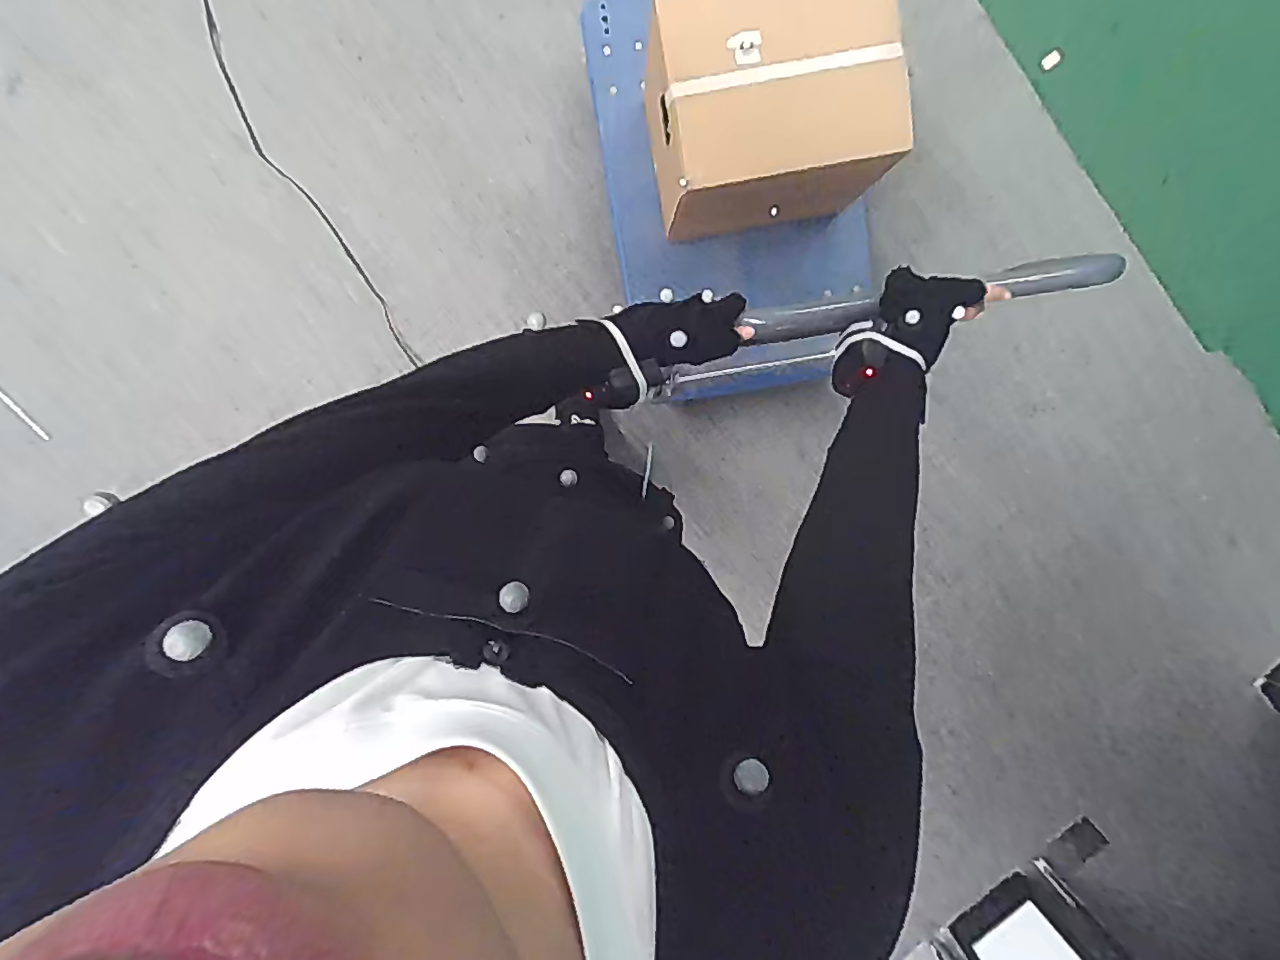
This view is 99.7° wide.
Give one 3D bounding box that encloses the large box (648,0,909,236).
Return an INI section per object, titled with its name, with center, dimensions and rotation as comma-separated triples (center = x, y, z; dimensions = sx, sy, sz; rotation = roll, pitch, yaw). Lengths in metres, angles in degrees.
[large box]
center = 0.244, -0.714, 1.064
dimensions = 0.408, 0.320, 0.320
rotation = -11, 98, -1
